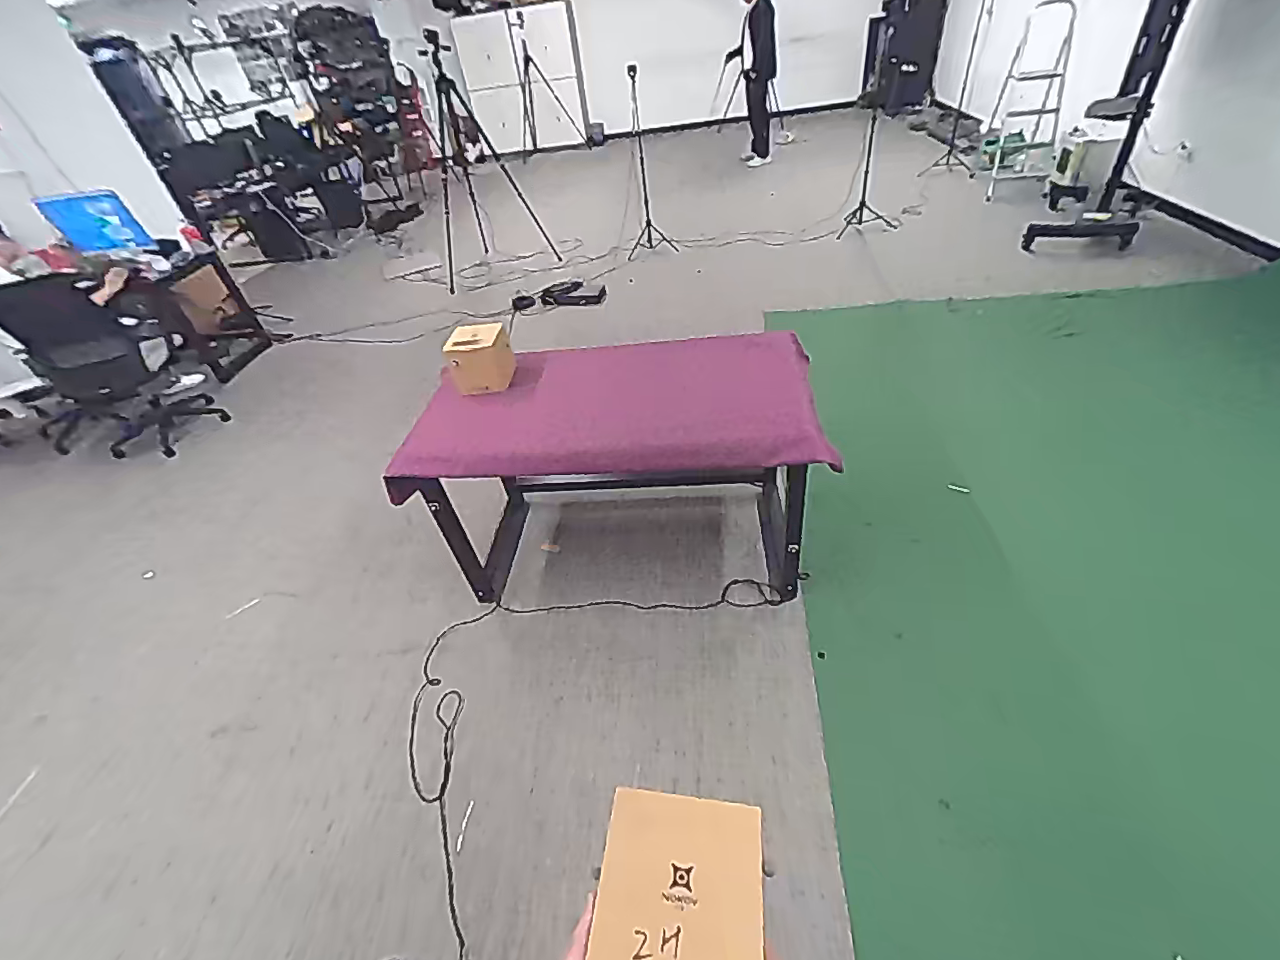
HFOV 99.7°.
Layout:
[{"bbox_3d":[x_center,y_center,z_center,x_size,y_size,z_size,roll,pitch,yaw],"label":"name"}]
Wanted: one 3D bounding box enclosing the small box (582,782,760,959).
[{"bbox_3d":[0.042,0.471,0.597,0.168,0.176,0.179,3,39,9],"label":"small box"}]
